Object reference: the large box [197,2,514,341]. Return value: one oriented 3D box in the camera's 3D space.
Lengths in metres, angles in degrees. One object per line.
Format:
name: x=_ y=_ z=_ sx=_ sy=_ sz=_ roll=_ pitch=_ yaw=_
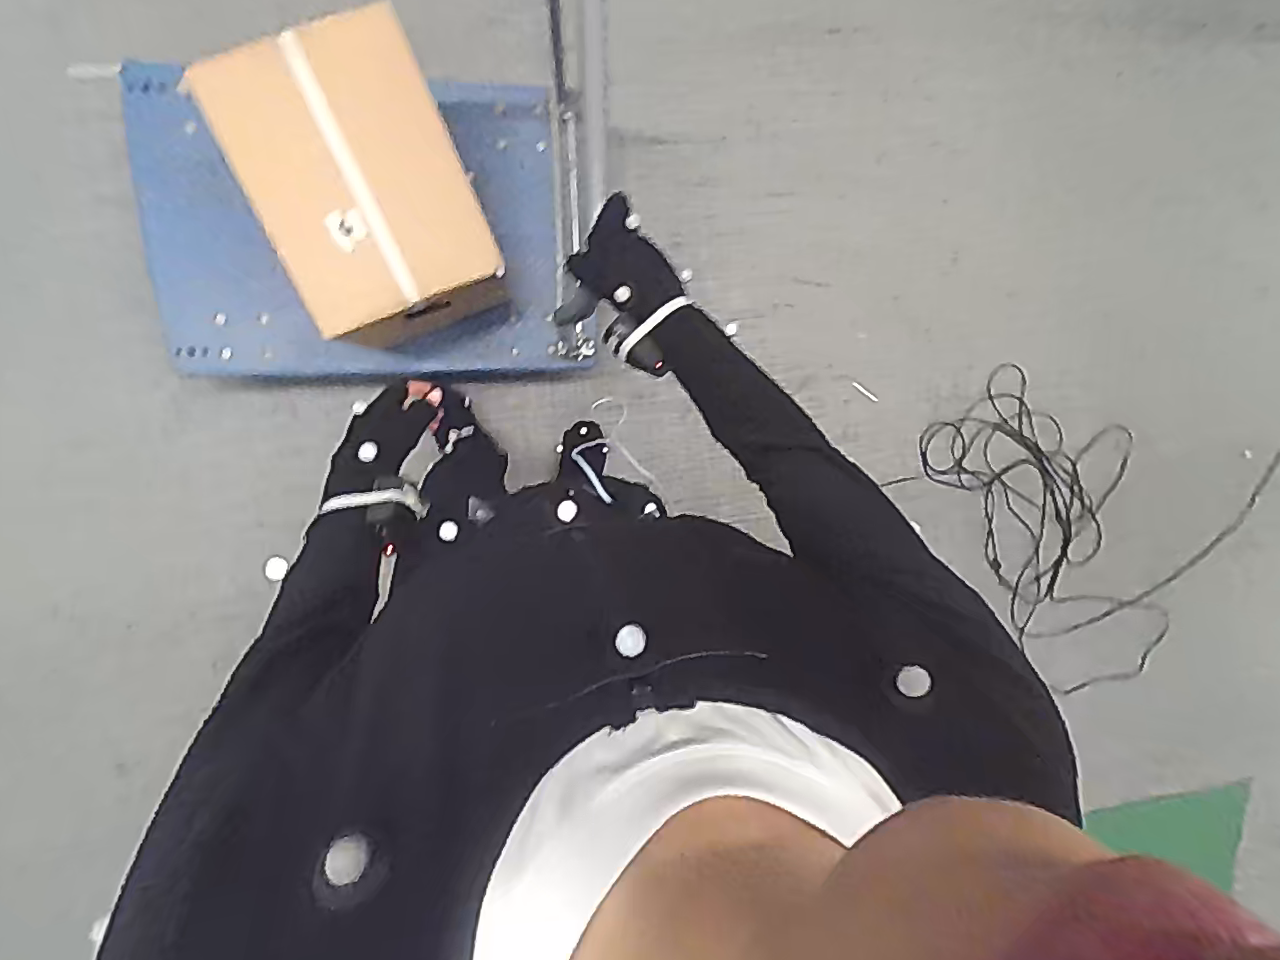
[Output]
large box: x=-0.454 y=-0.504 z=0.977 sx=0.320 sy=0.320 sz=0.408 roll=-24 pitch=104 yaw=-6
